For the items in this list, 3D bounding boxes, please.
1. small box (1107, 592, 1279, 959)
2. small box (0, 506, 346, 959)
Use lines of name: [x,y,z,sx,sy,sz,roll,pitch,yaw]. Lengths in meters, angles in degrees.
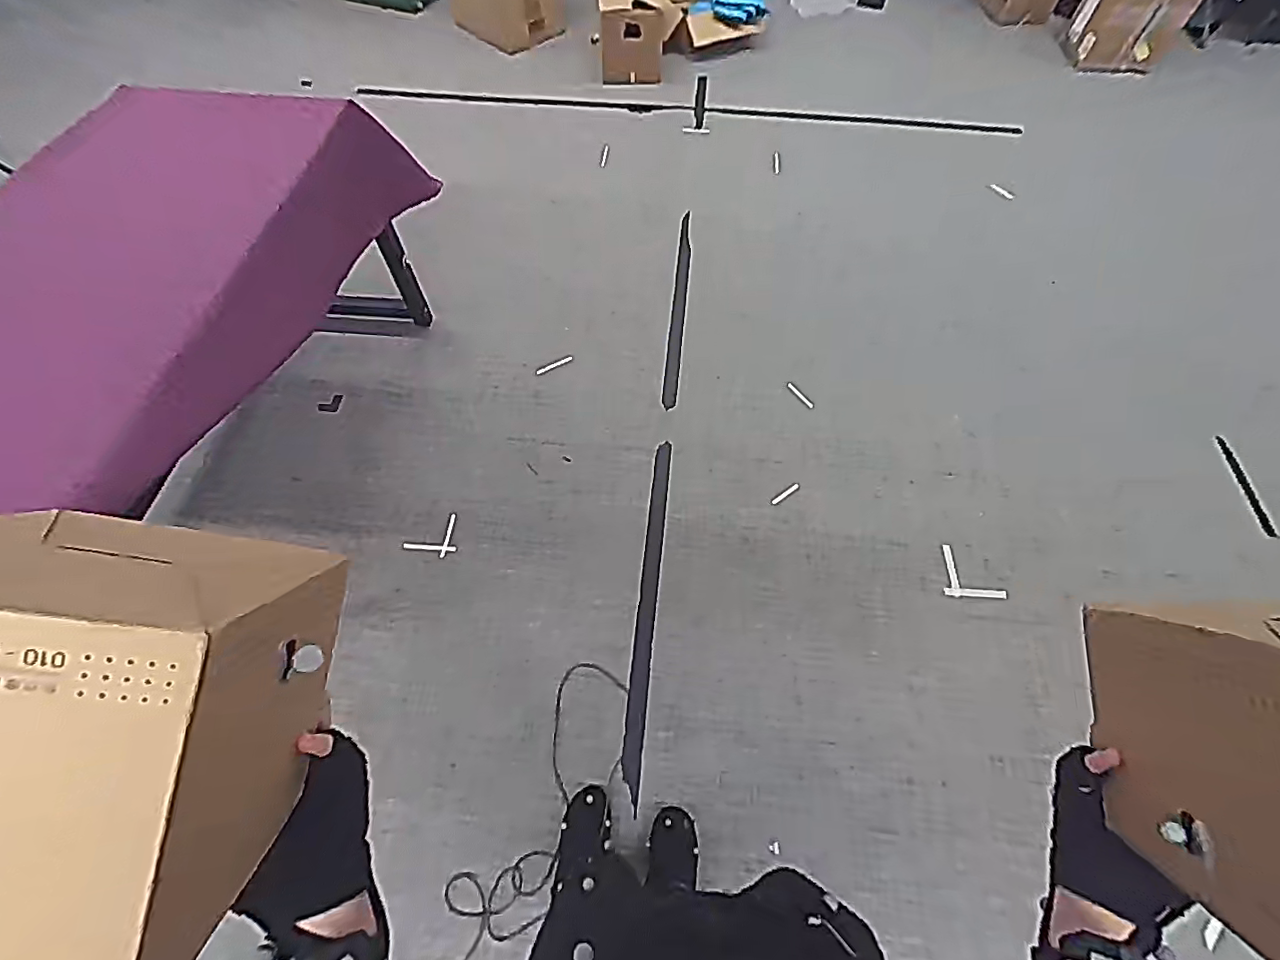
small box: [0.401,0.154,0.297,0.168,0.179,0.176,-2,84,13]
small box: [-0.262,0.108,0.251,0.168,0.179,0.176,12,88,-13]
